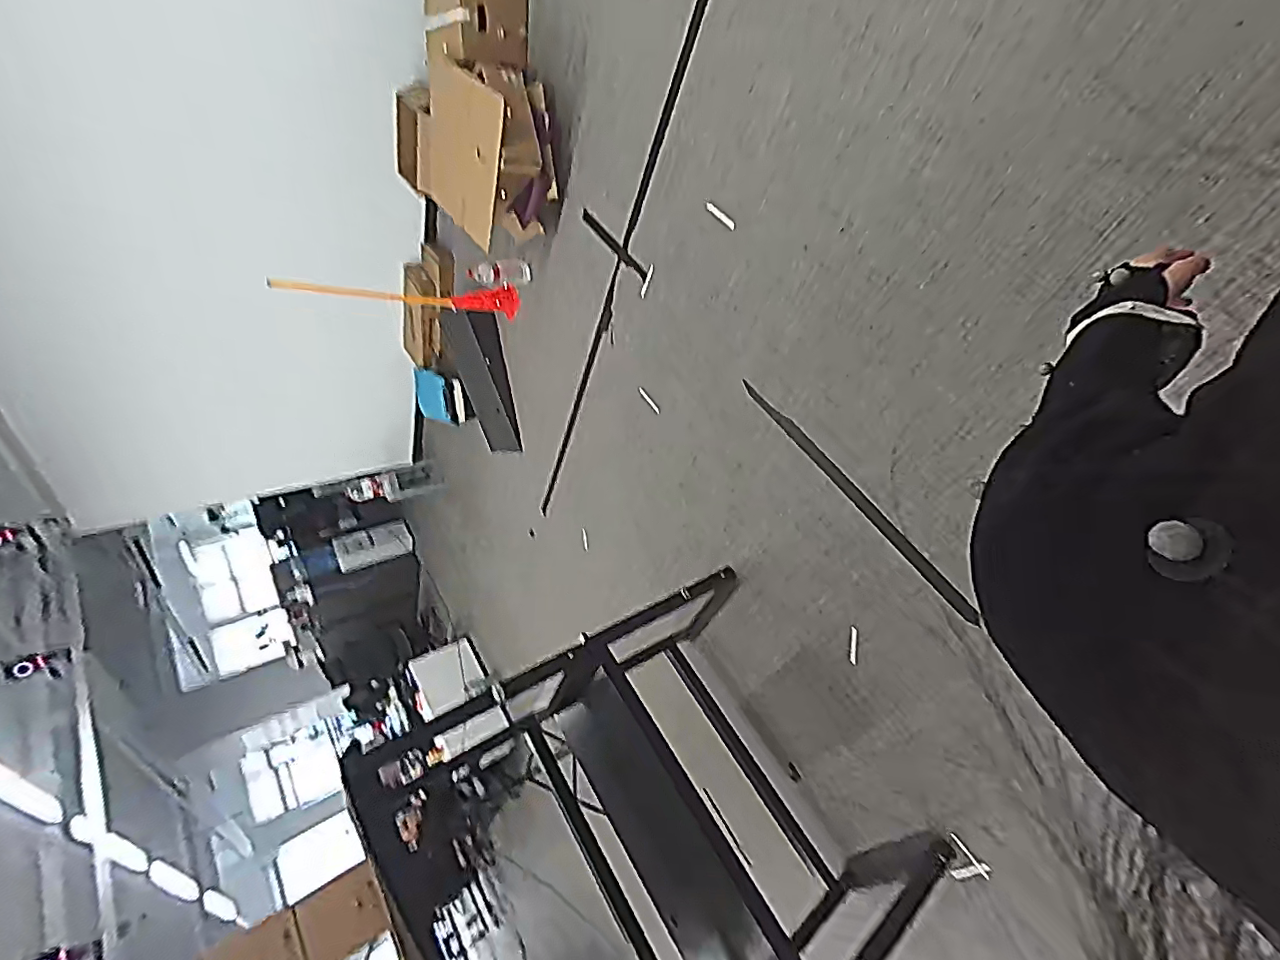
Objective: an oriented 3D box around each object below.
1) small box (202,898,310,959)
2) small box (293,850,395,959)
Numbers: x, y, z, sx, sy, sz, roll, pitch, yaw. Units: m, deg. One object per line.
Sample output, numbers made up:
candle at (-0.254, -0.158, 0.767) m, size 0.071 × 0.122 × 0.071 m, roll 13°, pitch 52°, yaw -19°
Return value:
small box at (-0.818, 1.056, 1.182) m, size 0.168 × 0.176 × 0.179 m, roll 54°, pitch 140°, yaw 23°
small box at (-0.690, 1.015, 1.275) m, size 0.168 × 0.176 × 0.179 m, roll 53°, pitch 140°, yaw 23°
